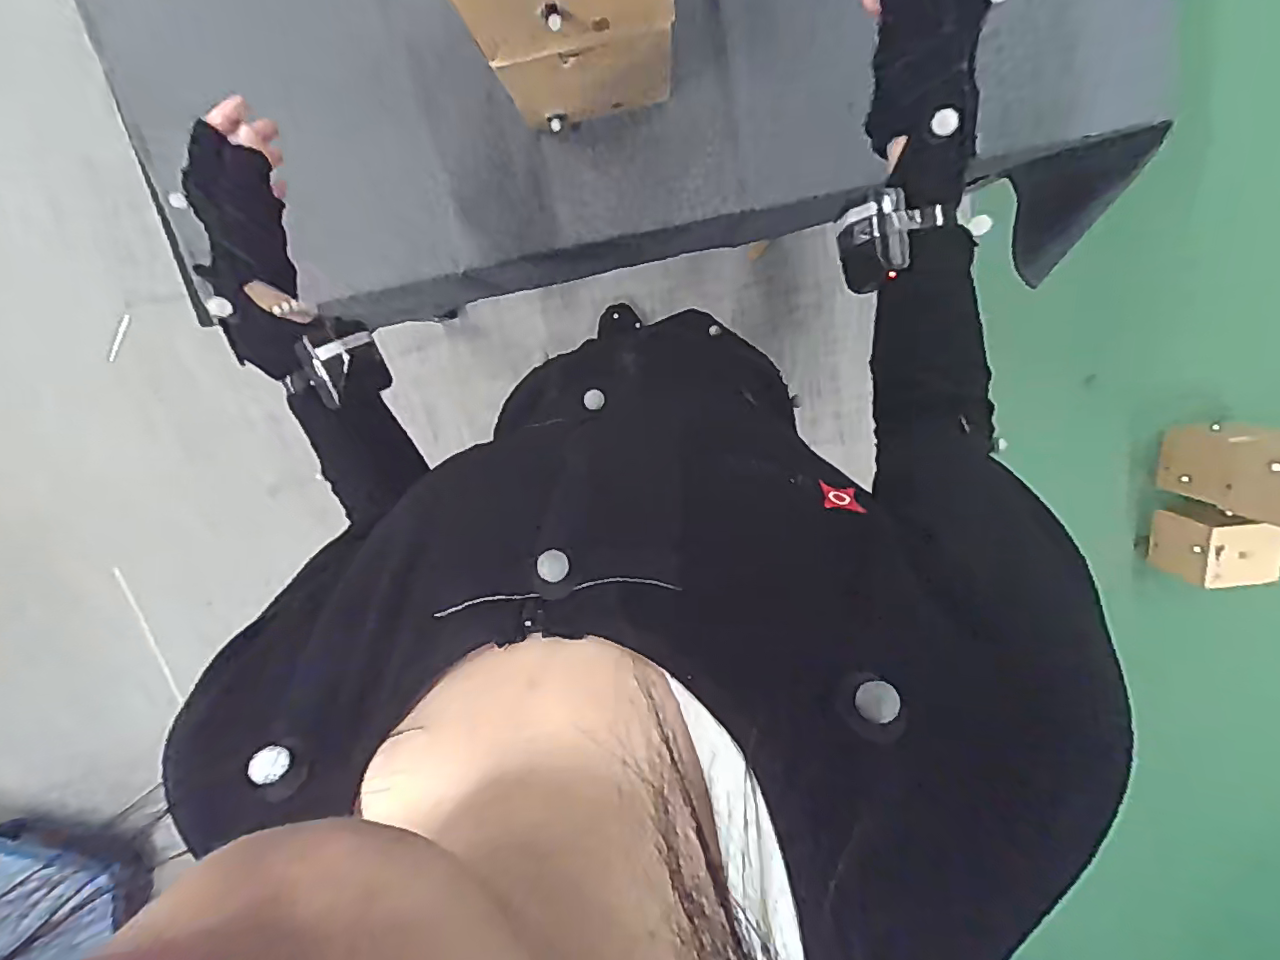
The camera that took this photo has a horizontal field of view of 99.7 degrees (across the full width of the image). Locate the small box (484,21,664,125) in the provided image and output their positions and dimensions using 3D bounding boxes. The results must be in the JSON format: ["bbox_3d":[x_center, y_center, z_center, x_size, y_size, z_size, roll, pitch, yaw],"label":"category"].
[{"bbox_3d":[-0.070,-0.487,0.541,0.168,0.176,0.179,-11,103,5],"label":"small box"}]

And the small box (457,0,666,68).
[{"bbox_3d":[-0.075,-0.445,0.385,0.168,0.176,0.179,-11,104,5],"label":"small box"}]

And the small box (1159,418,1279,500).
[{"bbox_3d":[1.457,-0.056,1.344,0.179,0.176,0.168,-5,105,4],"label":"small box"}]
